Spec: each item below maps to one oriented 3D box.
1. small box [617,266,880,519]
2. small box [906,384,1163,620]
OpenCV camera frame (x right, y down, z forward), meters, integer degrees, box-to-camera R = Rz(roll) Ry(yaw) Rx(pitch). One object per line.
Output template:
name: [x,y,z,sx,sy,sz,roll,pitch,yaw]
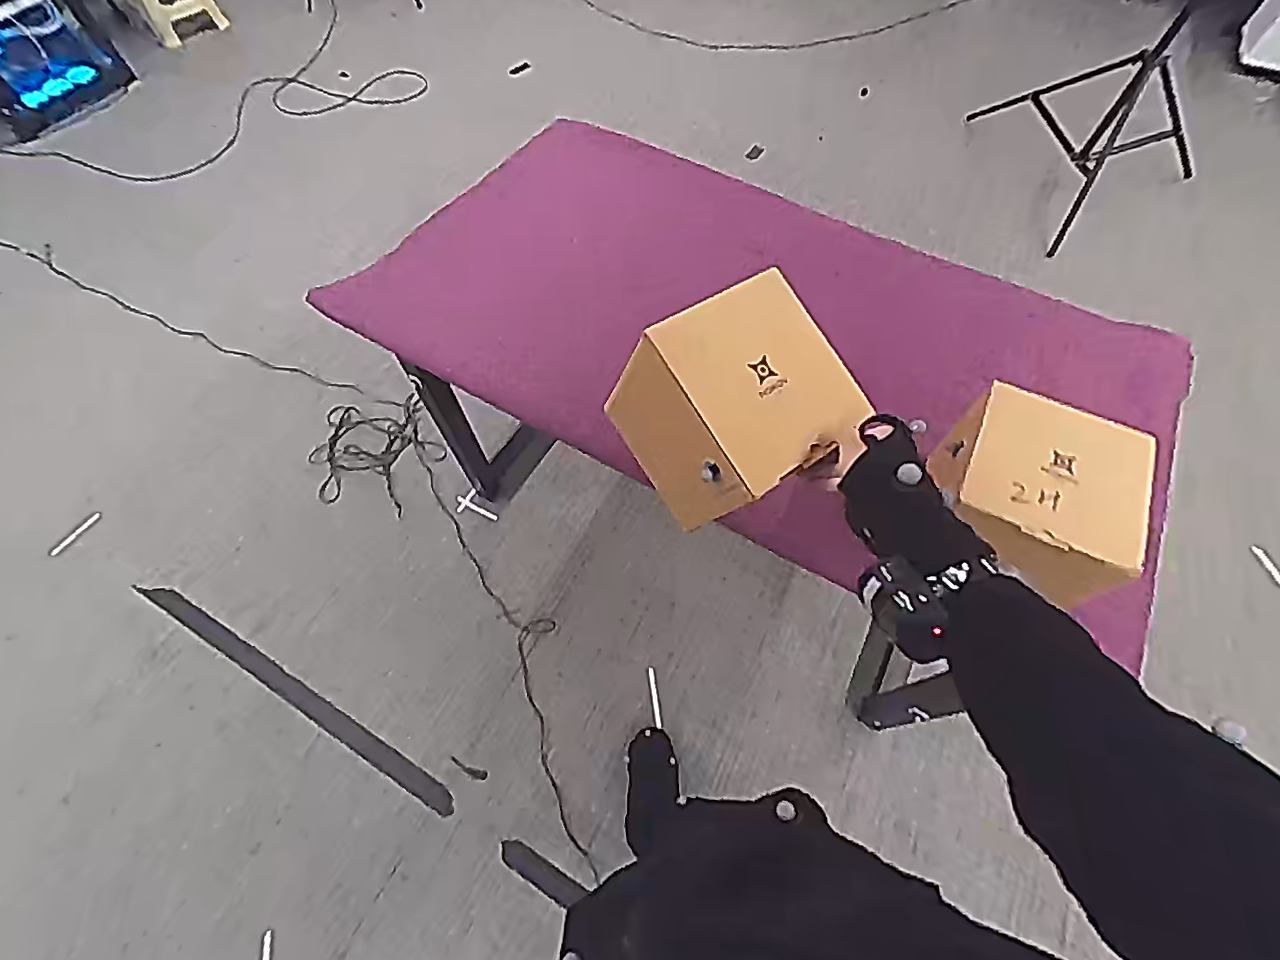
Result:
small box: [0.098,-0.081,0.565,0.168,0.176,0.179,-30,86,-22]
small box: [0.431,0.030,0.614,0.168,0.176,0.179,25,64,15]
